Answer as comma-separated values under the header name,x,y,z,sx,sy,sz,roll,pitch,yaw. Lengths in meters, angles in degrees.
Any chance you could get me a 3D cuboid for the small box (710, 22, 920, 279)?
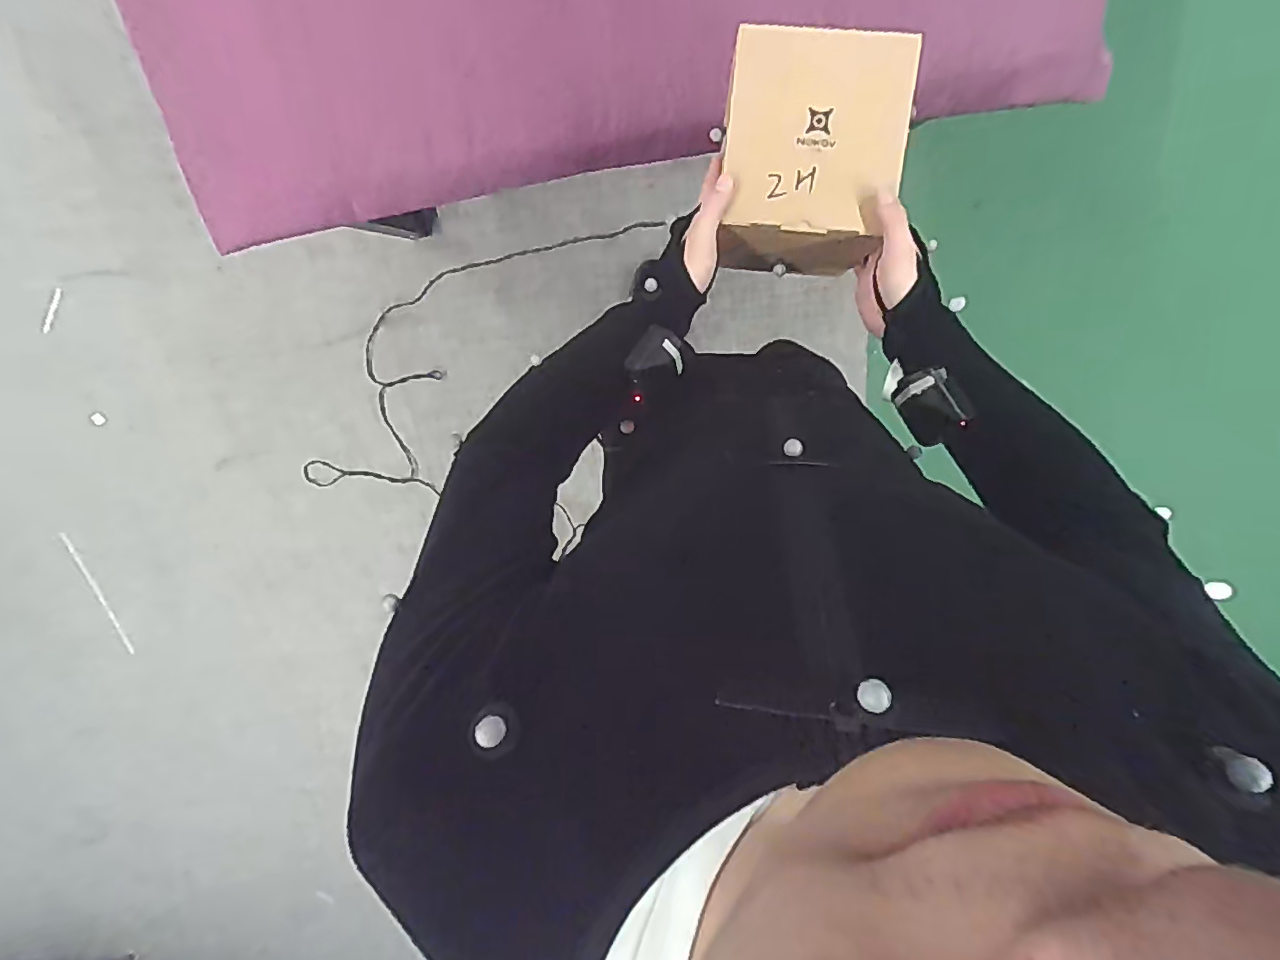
name,x,y,z,sx,sy,sz,roll,pitch,yaw
small box,0.167,-0.330,0.574,0.168,0.176,0.179,7,98,5
